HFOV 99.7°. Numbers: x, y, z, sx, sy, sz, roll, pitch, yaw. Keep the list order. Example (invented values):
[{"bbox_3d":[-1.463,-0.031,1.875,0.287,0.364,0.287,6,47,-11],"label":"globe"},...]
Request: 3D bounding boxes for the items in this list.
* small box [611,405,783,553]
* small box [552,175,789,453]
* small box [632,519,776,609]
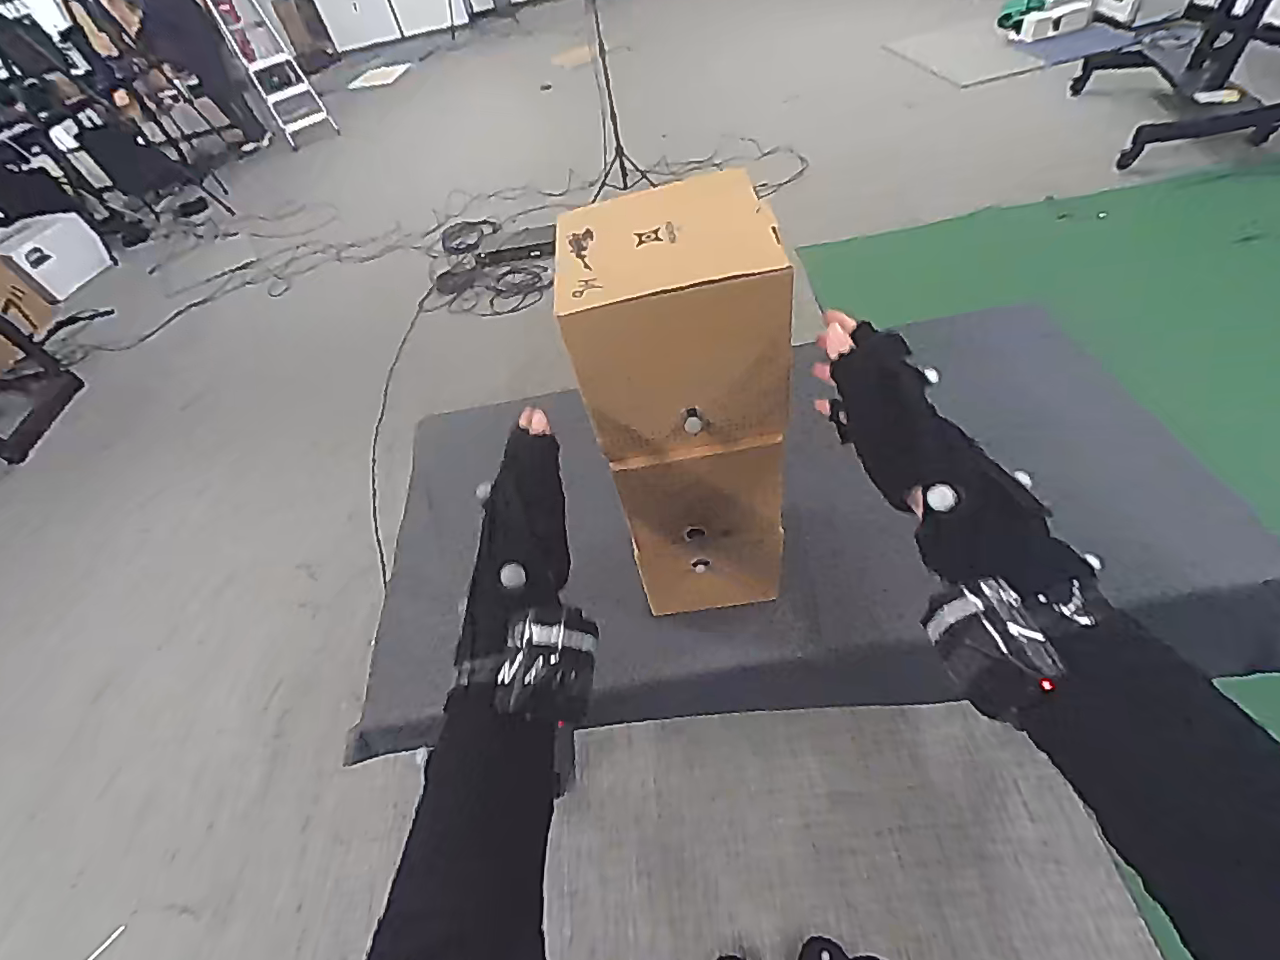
[{"bbox_3d":[0.060,-0.041,0.622,0.168,0.176,0.179,-11,51,5],"label":"small box"},{"bbox_3d":[0.028,-0.146,0.500,0.179,0.176,0.168,-9,50,5],"label":"small box"},{"bbox_3d":[0.087,0.068,0.760,0.179,0.176,0.168,-9,51,4],"label":"small box"}]
